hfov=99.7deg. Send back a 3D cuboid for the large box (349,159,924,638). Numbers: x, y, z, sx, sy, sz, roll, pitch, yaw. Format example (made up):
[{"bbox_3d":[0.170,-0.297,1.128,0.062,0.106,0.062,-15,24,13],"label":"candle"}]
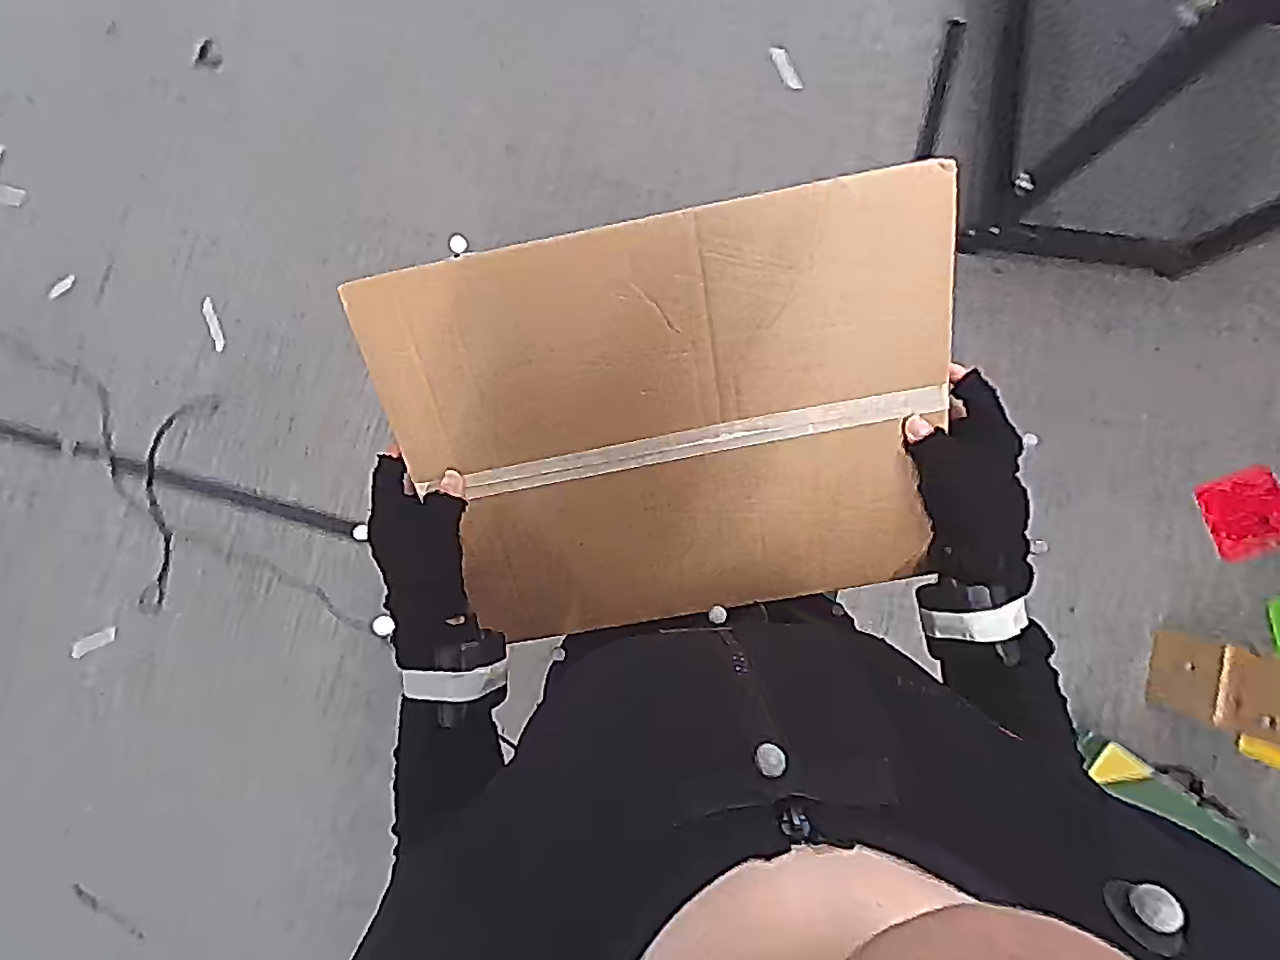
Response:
[{"bbox_3d":[0.014,-0.090,0.557,0.408,0.320,0.320,-12,115,3],"label":"large box"}]
